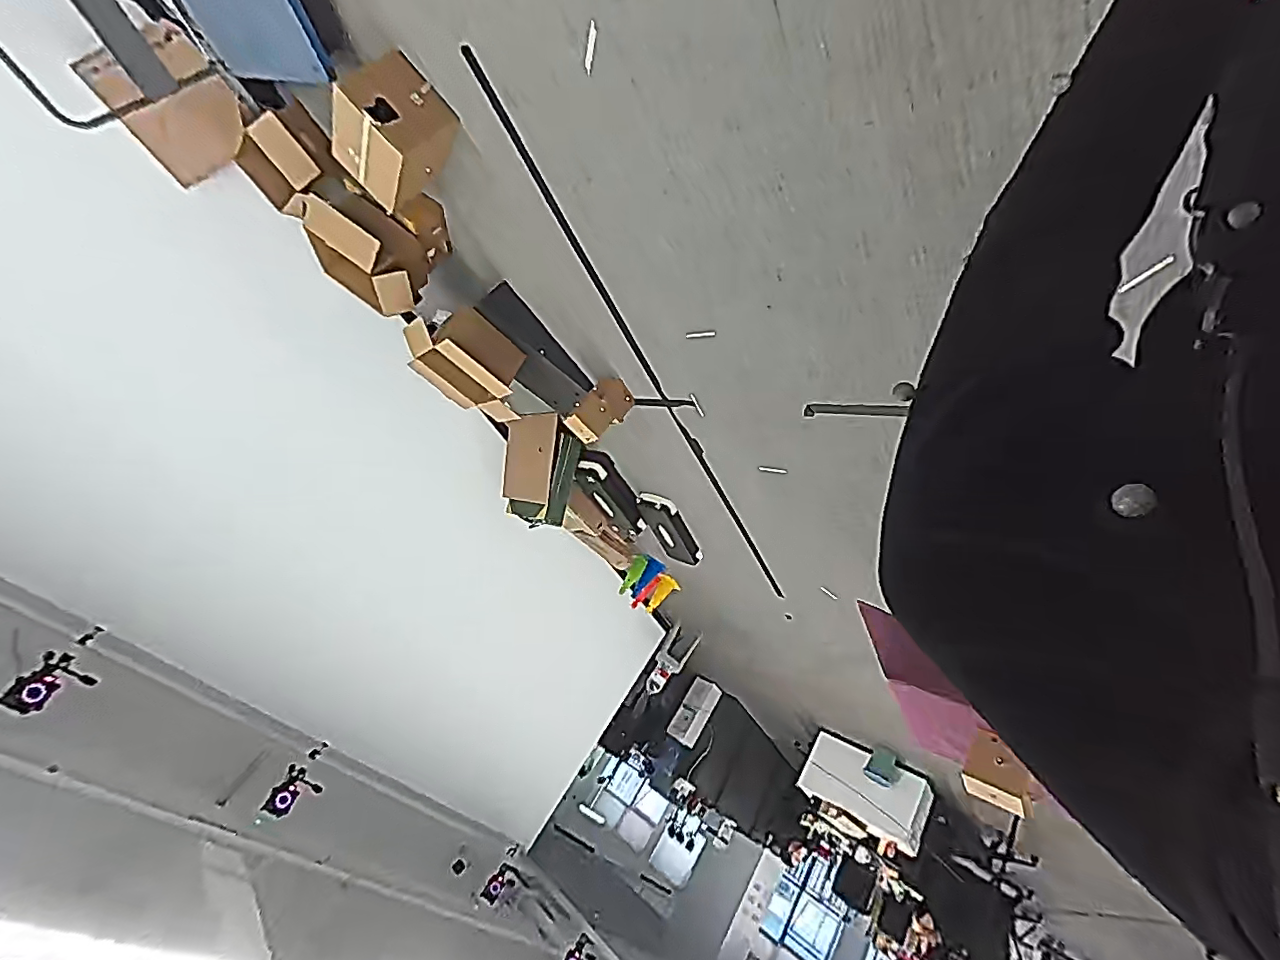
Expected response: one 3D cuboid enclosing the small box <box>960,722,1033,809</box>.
[{"bbox_3d":[1.169,0.928,1.770,0.168,0.176,0.179,10,145,45],"label":"small box"}]
